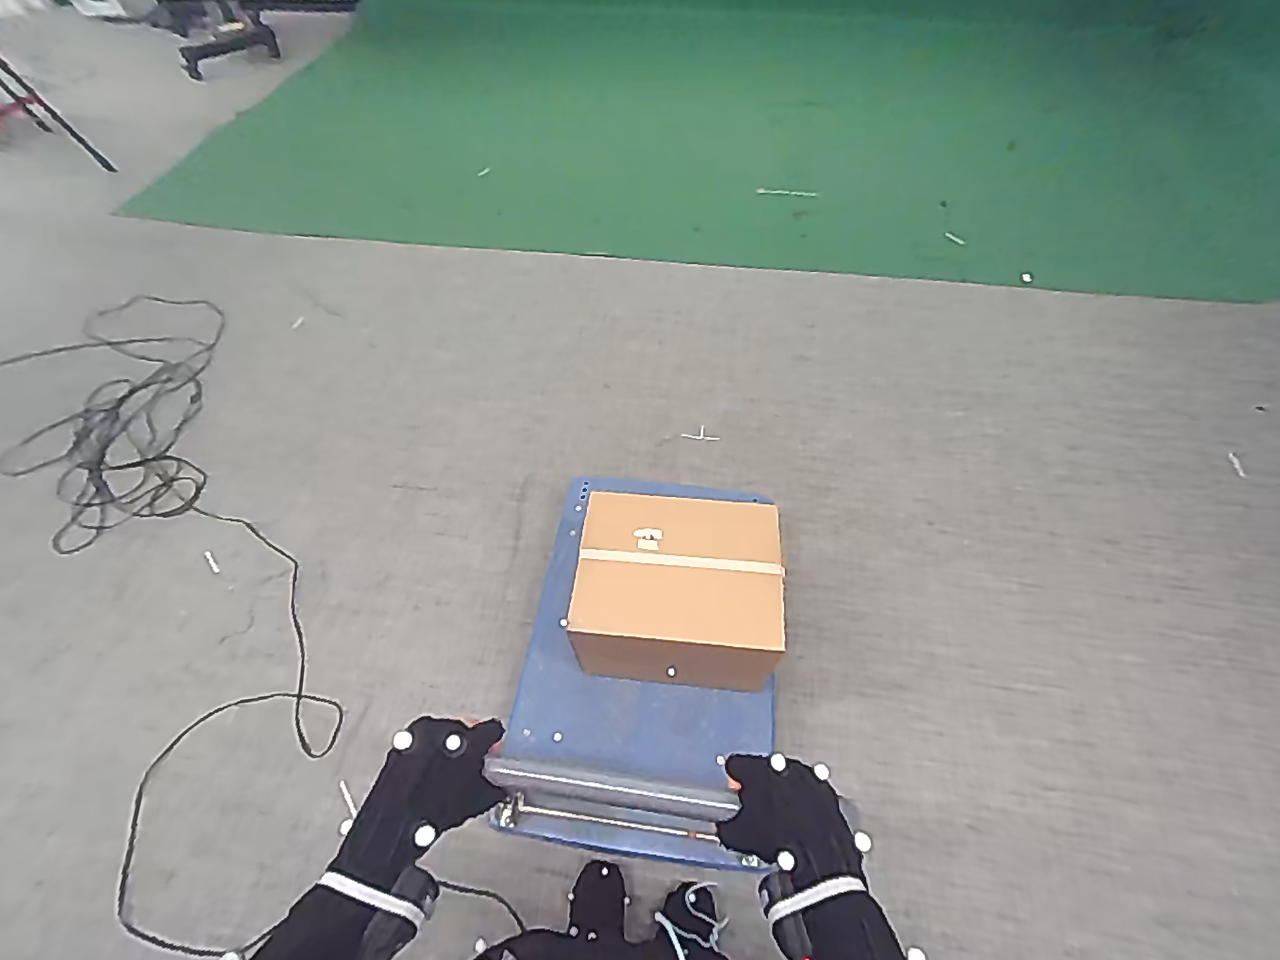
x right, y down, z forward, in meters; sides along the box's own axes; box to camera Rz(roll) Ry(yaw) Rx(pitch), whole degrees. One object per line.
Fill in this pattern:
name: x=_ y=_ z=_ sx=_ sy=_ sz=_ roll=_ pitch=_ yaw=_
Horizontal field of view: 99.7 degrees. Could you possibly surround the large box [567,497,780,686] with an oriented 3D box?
large box: x=0.080 y=0.255 z=1.208 sx=0.408 sy=0.320 sz=0.320 roll=4 pitch=55 yaw=5
